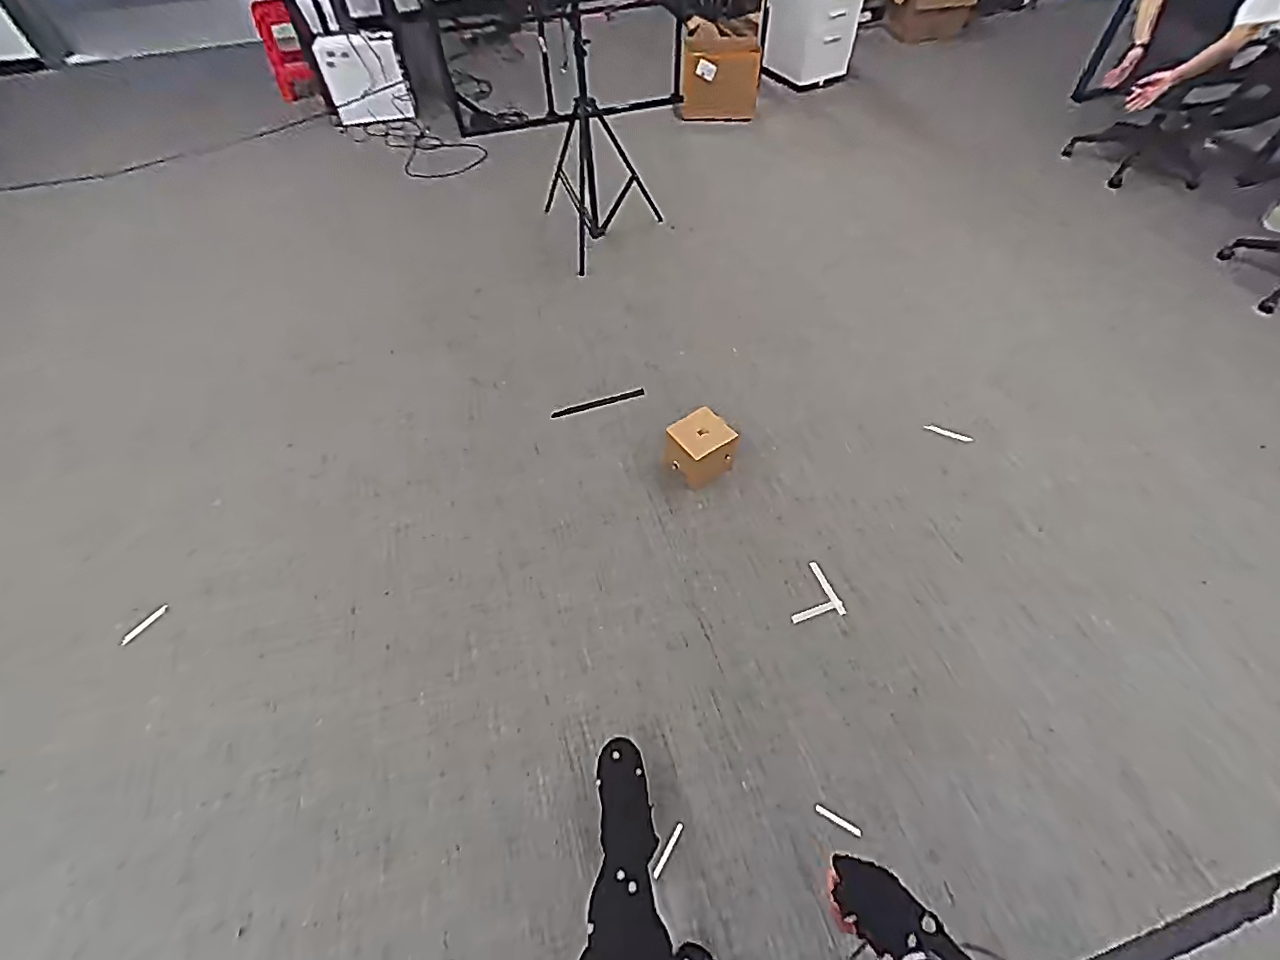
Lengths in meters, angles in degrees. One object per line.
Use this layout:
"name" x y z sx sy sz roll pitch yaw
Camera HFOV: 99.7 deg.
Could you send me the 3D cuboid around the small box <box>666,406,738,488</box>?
"small box" 0.197 -0.108 1.792 0.179 0.176 0.168 -32 59 -19
